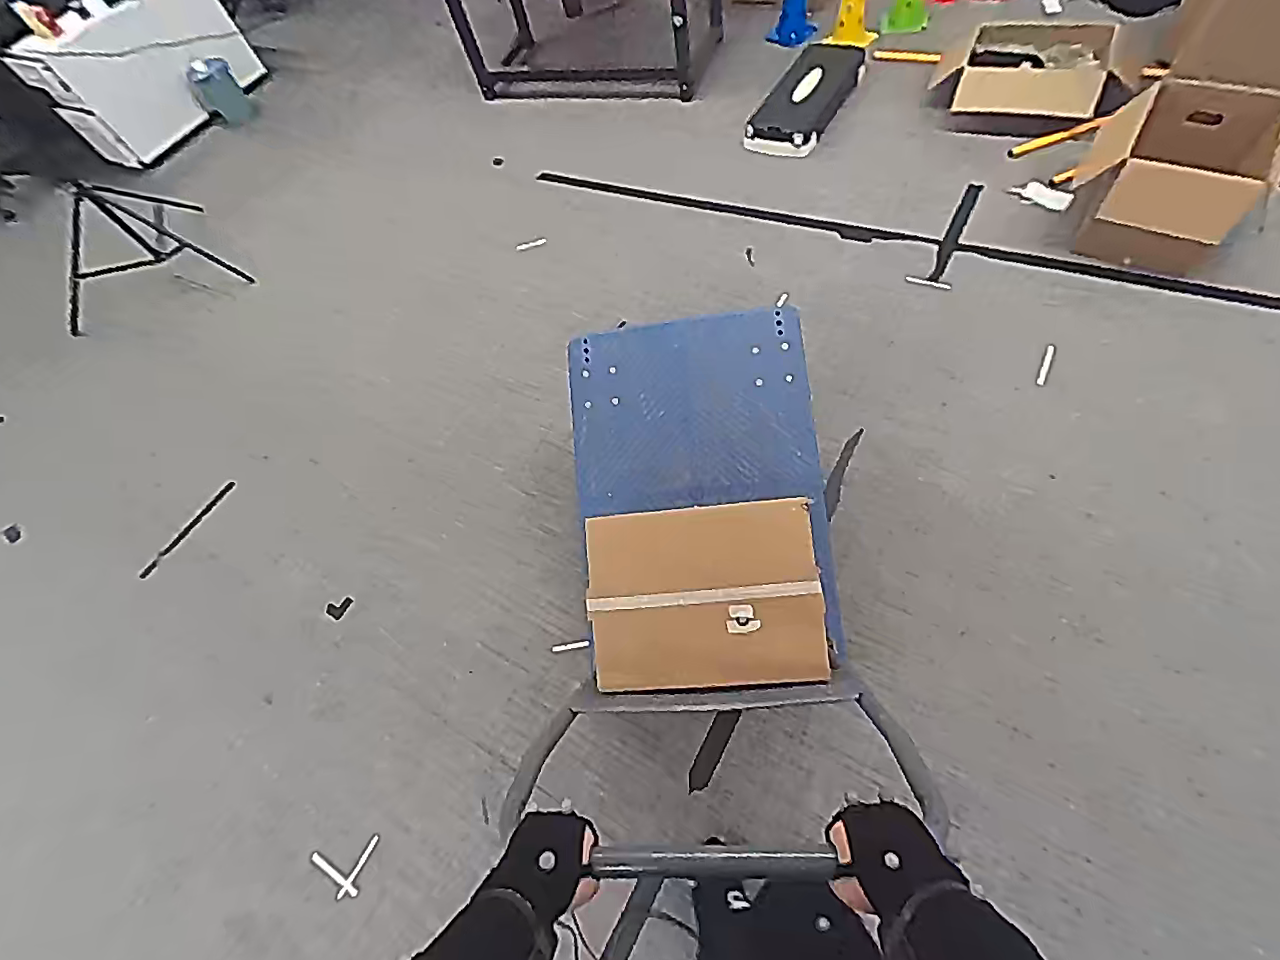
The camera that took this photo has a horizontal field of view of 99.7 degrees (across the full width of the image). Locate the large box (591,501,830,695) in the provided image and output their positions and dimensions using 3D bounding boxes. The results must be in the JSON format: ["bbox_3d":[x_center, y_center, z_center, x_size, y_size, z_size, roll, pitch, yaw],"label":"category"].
[{"bbox_3d":[0.136,0.235,1.121,0.408,0.320,0.320,-7,82,7],"label":"large box"}]
